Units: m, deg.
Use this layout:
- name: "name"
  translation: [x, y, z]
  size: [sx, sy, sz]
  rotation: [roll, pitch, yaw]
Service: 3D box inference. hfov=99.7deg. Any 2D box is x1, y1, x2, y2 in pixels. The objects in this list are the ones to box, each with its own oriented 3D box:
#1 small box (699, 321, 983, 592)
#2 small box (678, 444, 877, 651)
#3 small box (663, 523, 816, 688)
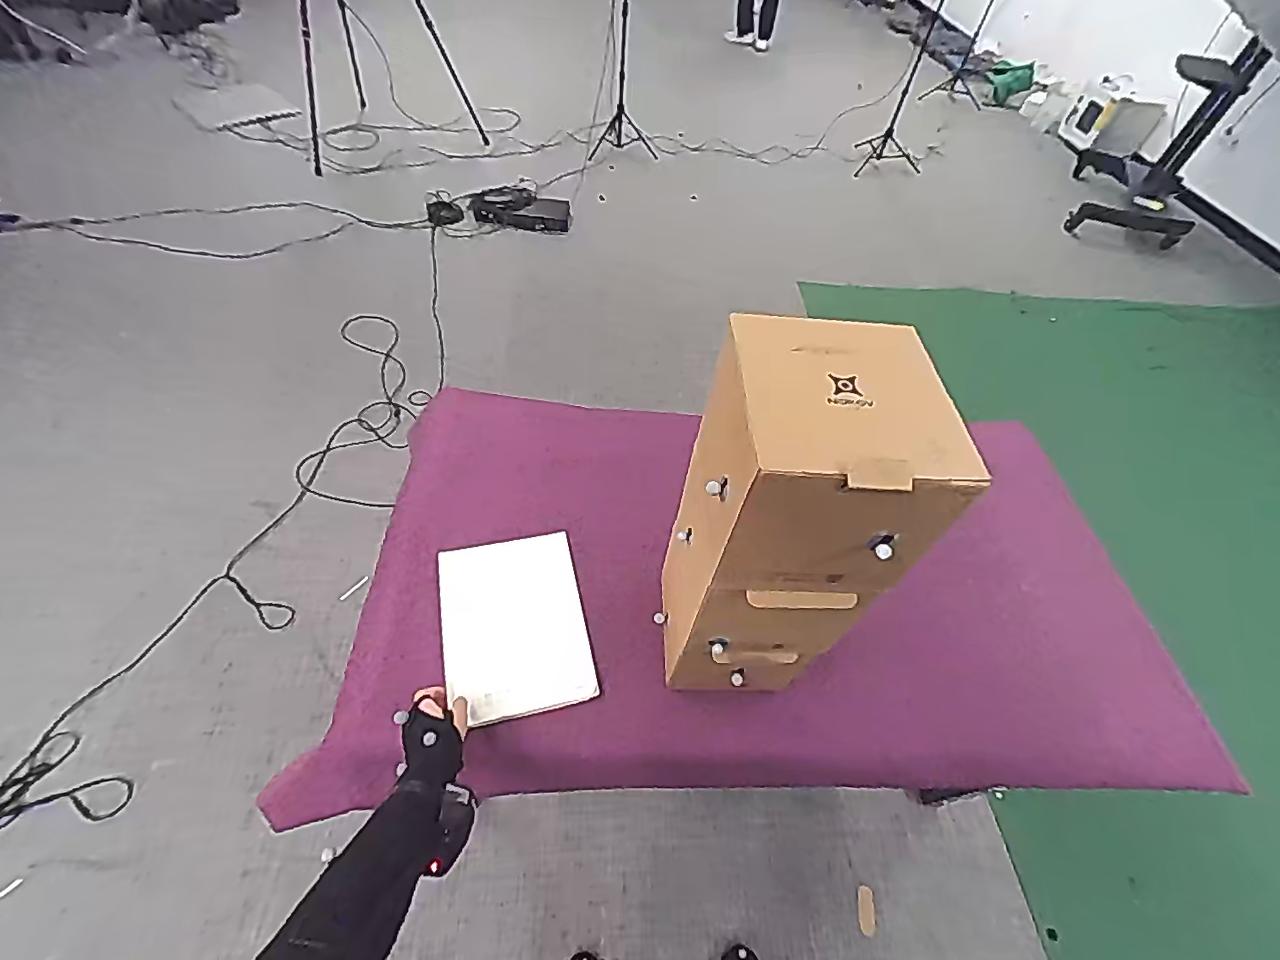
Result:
- name: "small box"
  translation: [0.150, -0.015, 0.479]
  size: [0.168, 0.176, 0.179]
  rotation: [3, 51, -4]
- name: "small box"
  translation: [0.136, 0.081, 0.610]
  size: [0.168, 0.176, 0.179]
  rotation: [2, 51, -4]
- name: "small box"
  translation: [0.123, 0.177, 0.744]
  size: [0.168, 0.176, 0.179]
  rotation: [3, 52, -4]
